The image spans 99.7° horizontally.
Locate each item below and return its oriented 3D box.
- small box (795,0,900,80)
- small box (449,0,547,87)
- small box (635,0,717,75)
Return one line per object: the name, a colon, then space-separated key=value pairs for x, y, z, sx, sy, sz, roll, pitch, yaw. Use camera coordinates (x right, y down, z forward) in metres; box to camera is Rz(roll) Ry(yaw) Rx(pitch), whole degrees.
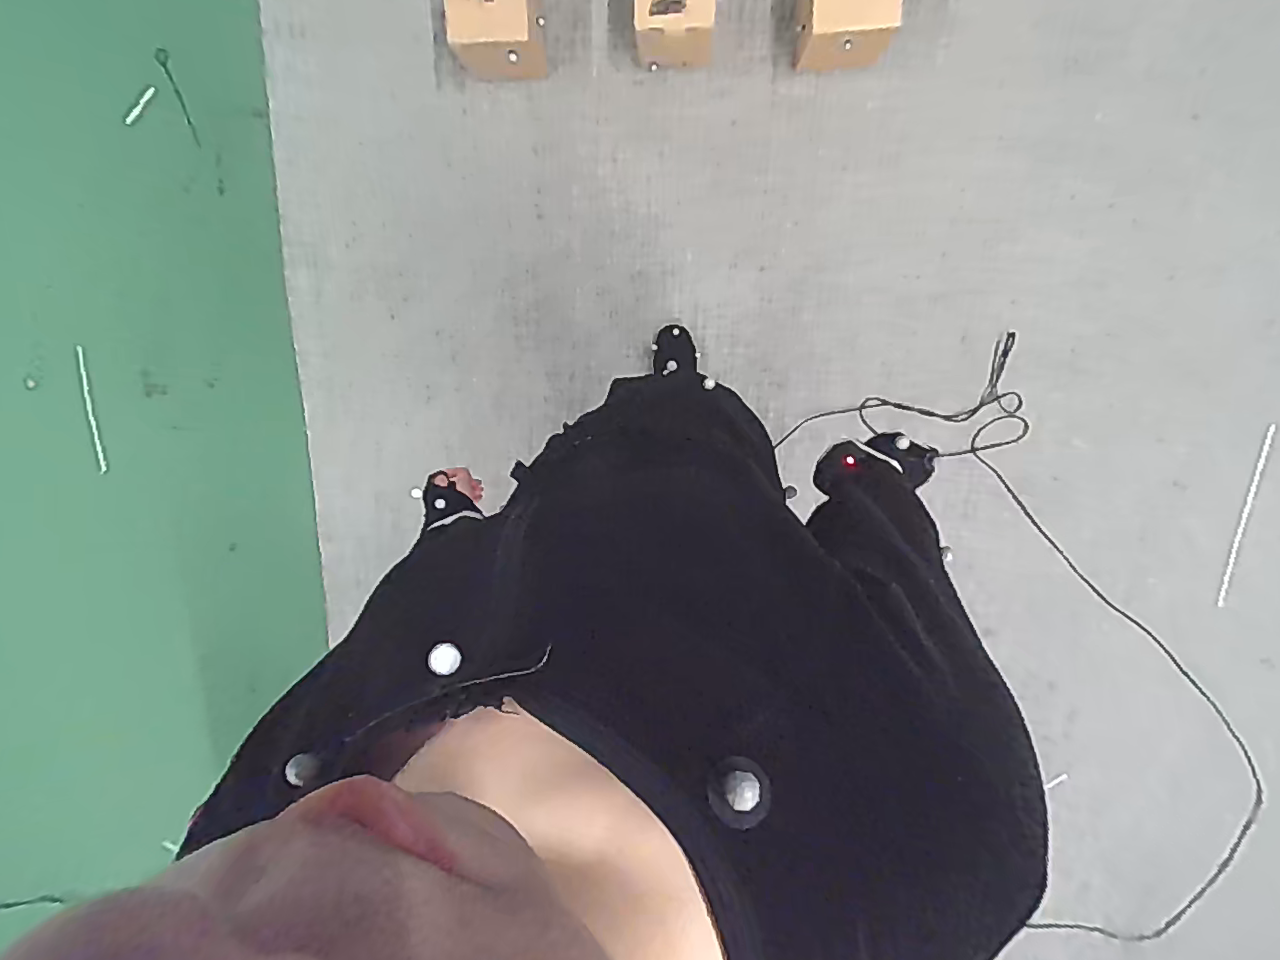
small box: x=0.432 y=-0.978 z=1.143 sx=0.179 sy=0.176 sz=0.168 roll=0 pitch=104 yaw=4
small box: x=-0.307 y=-1.004 z=1.201 sx=0.179 sy=0.176 sz=0.168 roll=2 pitch=103 yaw=4
small box: x=0.080 y=-1.008 z=1.166 sx=0.168 sy=0.176 sz=0.179 roll=3 pitch=103 yaw=4
